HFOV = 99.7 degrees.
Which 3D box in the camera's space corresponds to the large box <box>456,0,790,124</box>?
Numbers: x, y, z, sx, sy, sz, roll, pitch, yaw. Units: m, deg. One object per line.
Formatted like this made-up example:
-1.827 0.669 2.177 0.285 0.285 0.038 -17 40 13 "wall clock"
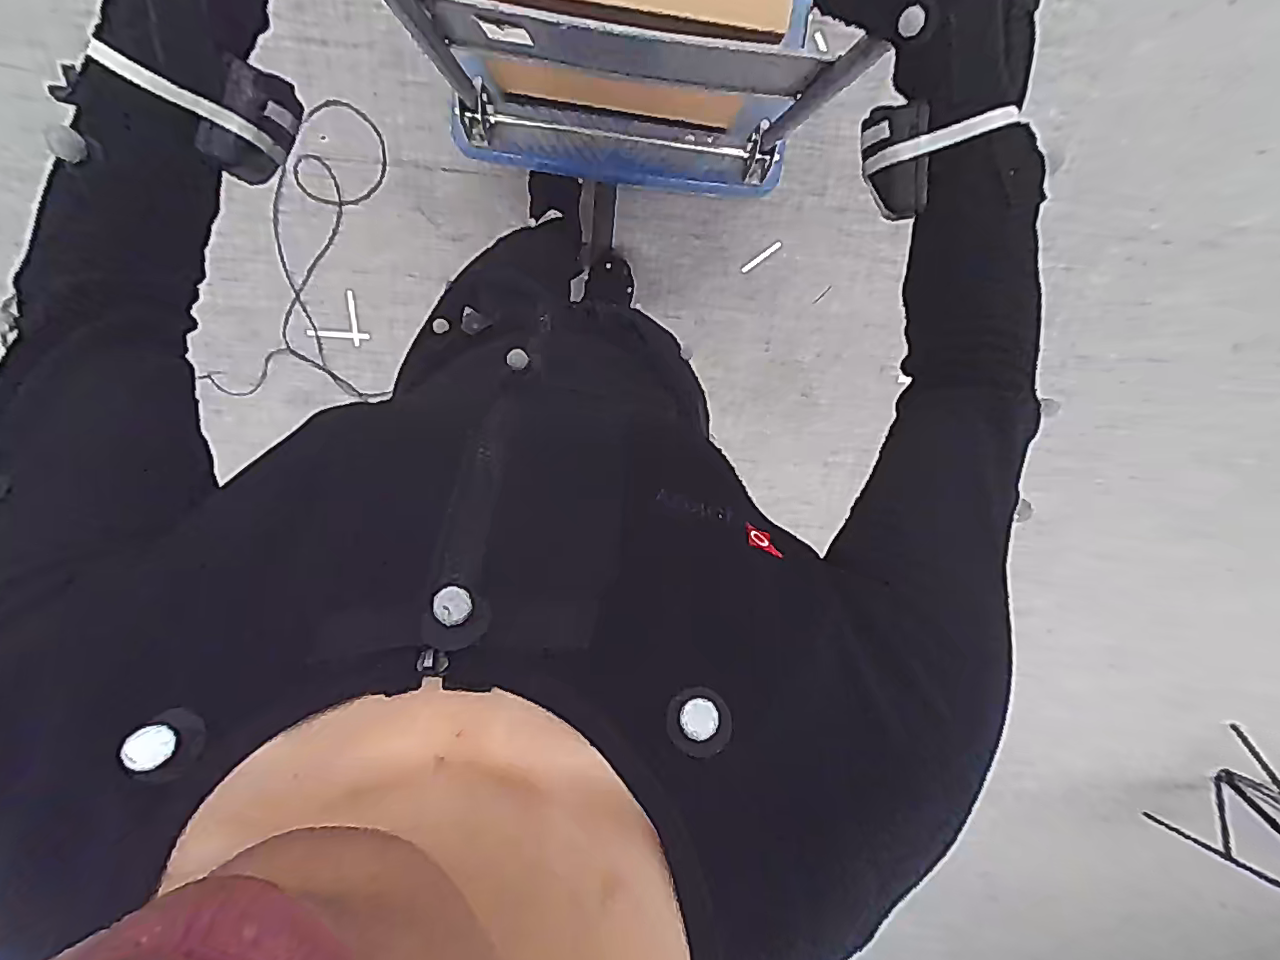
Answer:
-0.022 -0.731 0.729 0.408 0.320 0.320 5 106 -6 "large box"
